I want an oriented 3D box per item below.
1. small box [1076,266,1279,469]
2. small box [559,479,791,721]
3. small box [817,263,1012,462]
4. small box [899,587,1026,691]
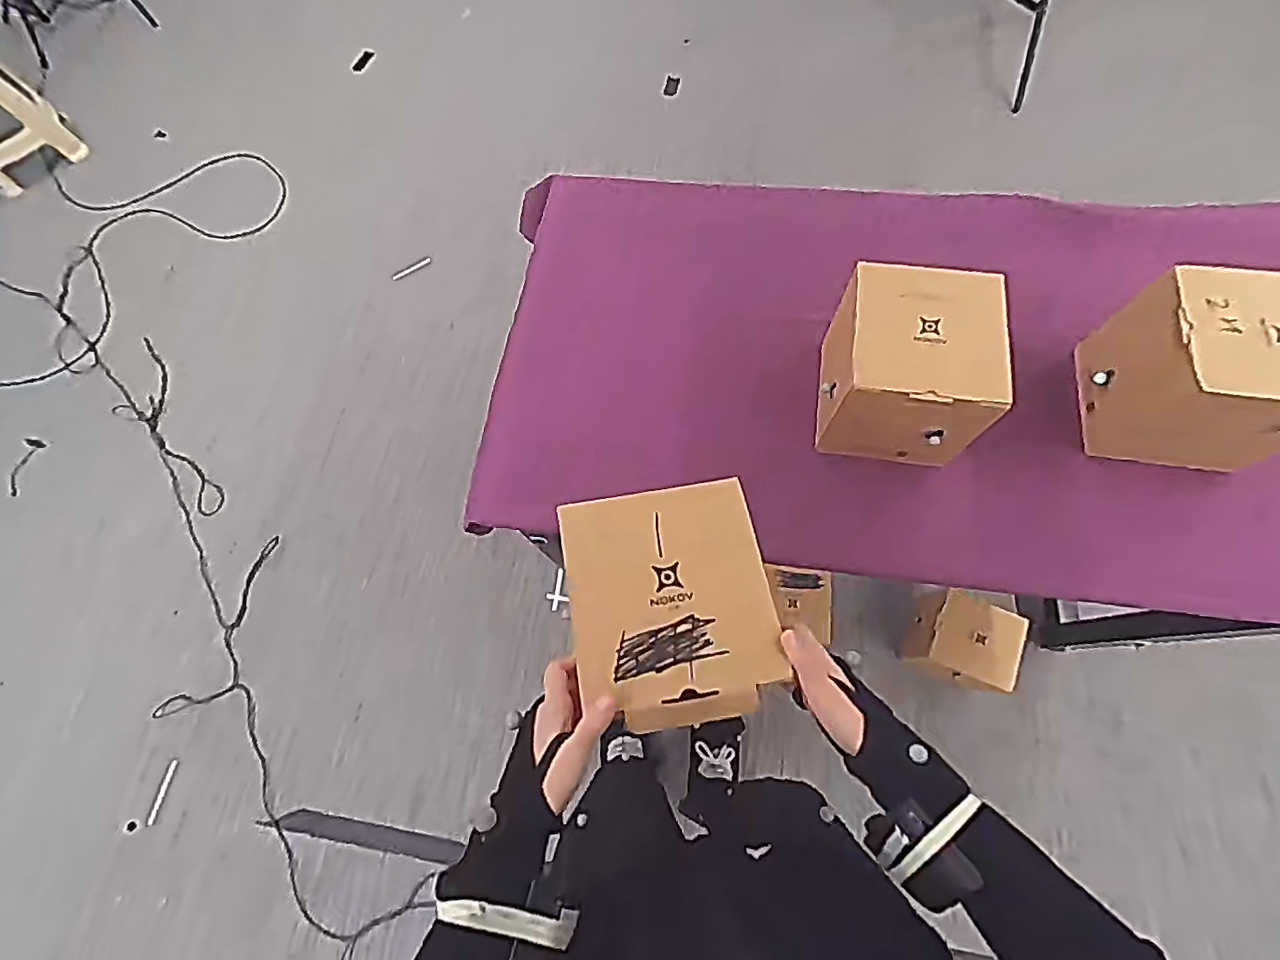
[{"bbox_3d":[0.673,-0.123,0.643,0.179,0.176,0.168,8,70,7],"label":"small box"},{"bbox_3d":[0.024,0.121,0.515,0.168,0.176,0.179,-9,66,-5],"label":"small box"},{"bbox_3d":[0.326,-0.137,0.674,0.168,0.176,0.179,8,69,6],"label":"small box"},{"bbox_3d":[0.731,0.365,1.241,0.179,0.176,0.168,23,74,12],"label":"small box"}]
